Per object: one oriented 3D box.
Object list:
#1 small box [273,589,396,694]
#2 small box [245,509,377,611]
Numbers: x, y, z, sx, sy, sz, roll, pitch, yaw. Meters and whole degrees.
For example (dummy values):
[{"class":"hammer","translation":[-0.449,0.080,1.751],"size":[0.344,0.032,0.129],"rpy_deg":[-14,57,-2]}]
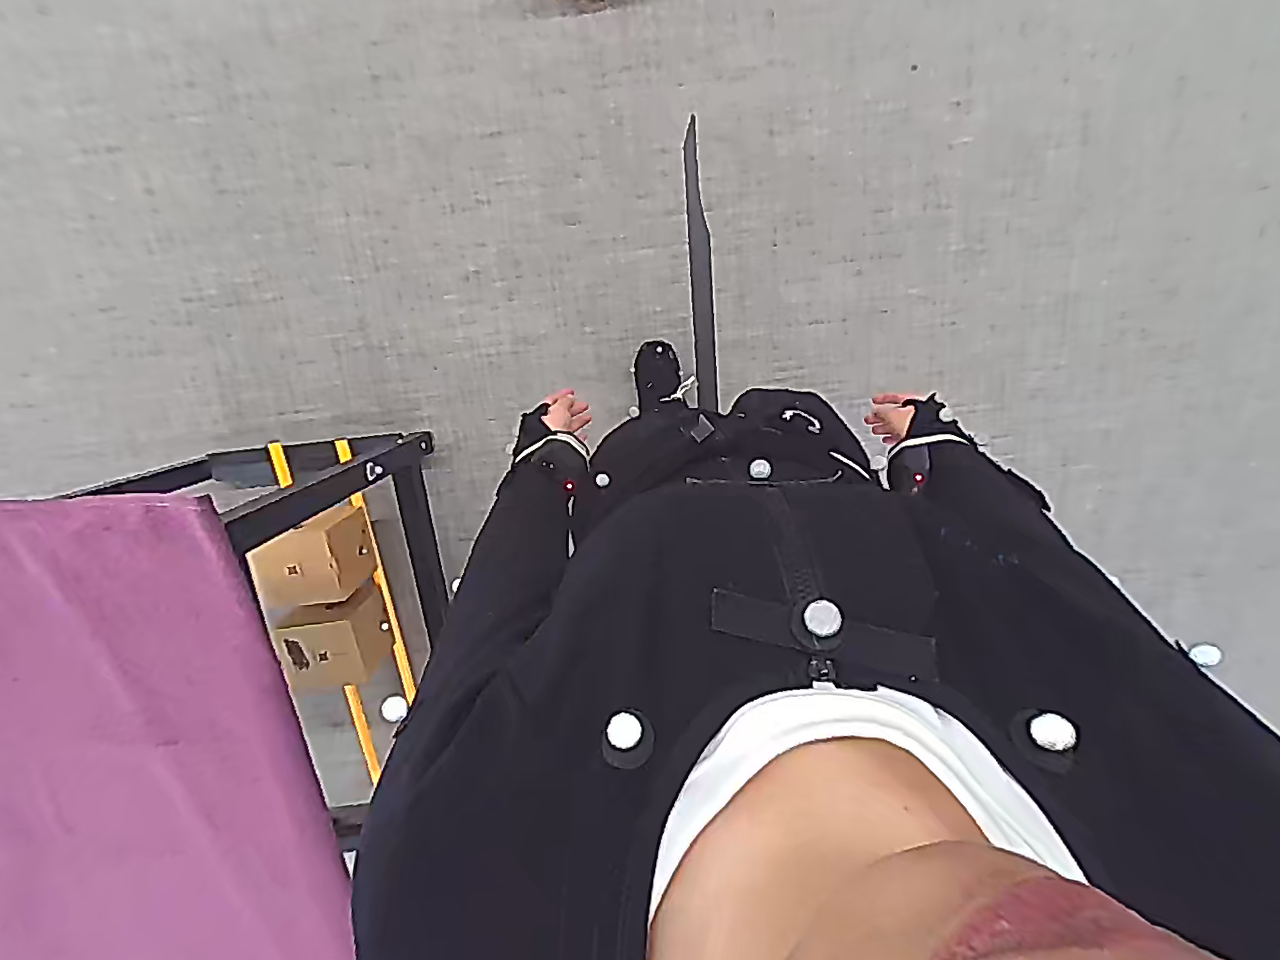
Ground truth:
[{"class":"small box","translation":[-0.707,0.373,1.268],"size":[0.179,0.176,0.168],"rpy_deg":[-7,105,-1]},{"class":"small box","translation":[-0.727,0.174,1.214],"size":[0.179,0.176,0.168],"rpy_deg":[-7,105,0]}]
